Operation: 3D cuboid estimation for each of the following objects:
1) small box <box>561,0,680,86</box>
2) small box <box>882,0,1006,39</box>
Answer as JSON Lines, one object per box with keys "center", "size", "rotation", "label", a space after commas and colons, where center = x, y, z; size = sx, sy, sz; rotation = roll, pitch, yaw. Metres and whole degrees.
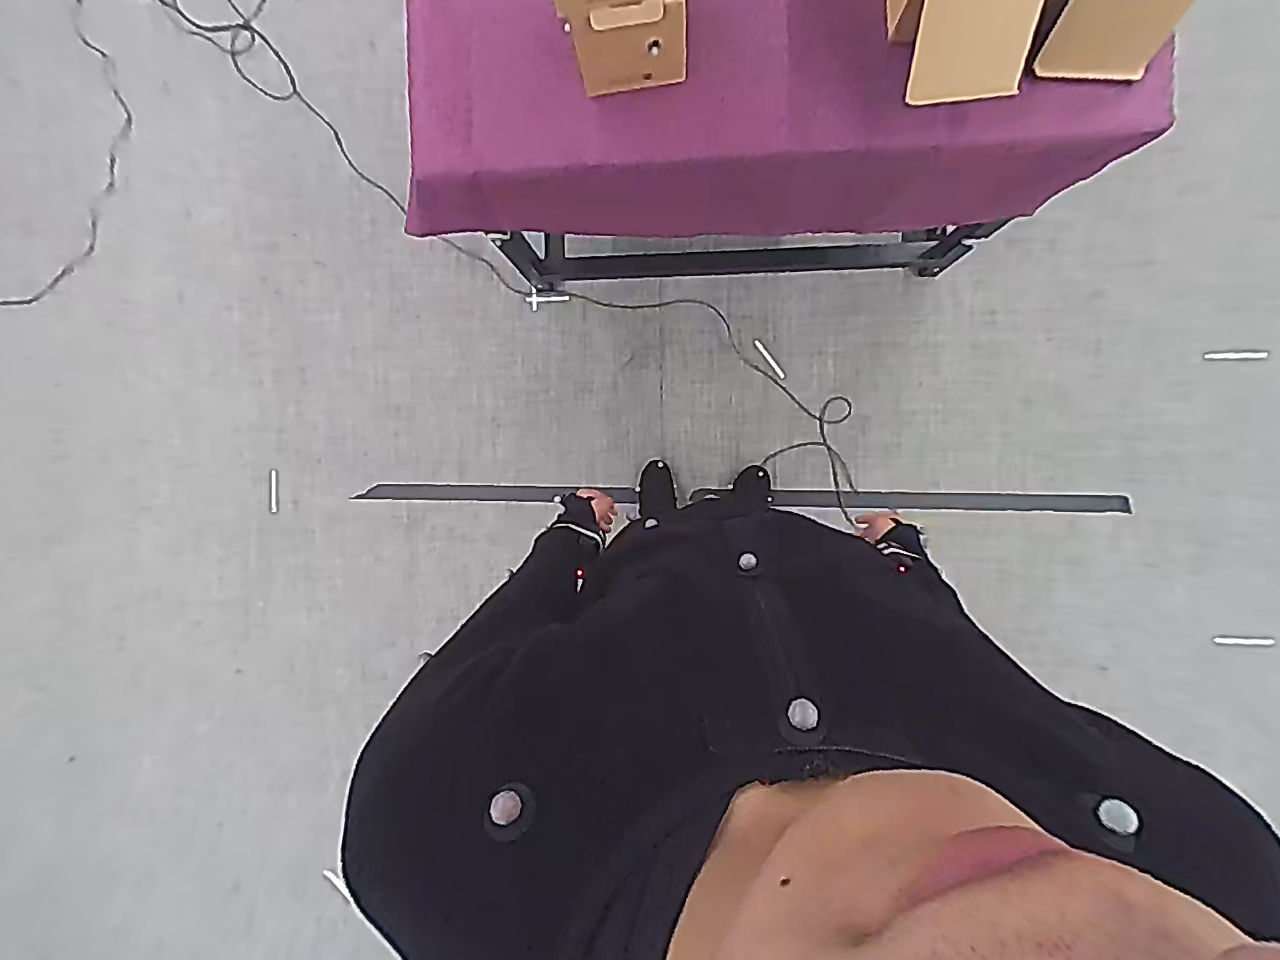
{"center": [-0.026, -0.735, 0.817], "size": [0.168, 0.176, 0.179], "rotation": [-5, 91, 4], "label": "small box"}
{"center": [0.457, -0.789, 0.773], "size": [0.168, 0.176, 0.179], "rotation": [-3, 92, 6], "label": "small box"}
